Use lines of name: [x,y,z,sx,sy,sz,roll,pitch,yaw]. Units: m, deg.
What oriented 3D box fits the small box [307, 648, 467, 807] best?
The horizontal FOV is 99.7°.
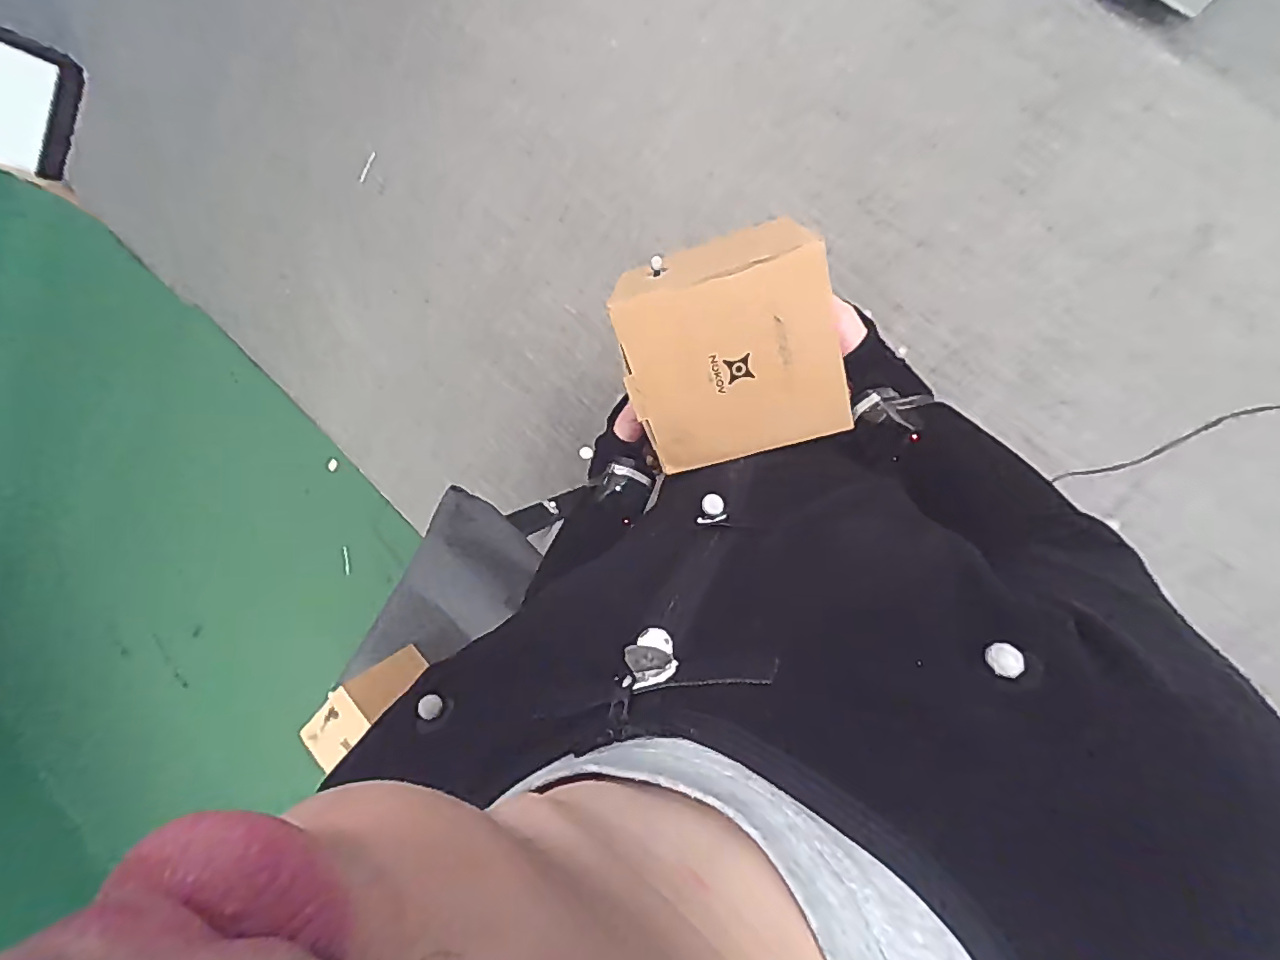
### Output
small box: [-0.463,0.452,1.010,0.179,0.176,0.168,47,110,7]
